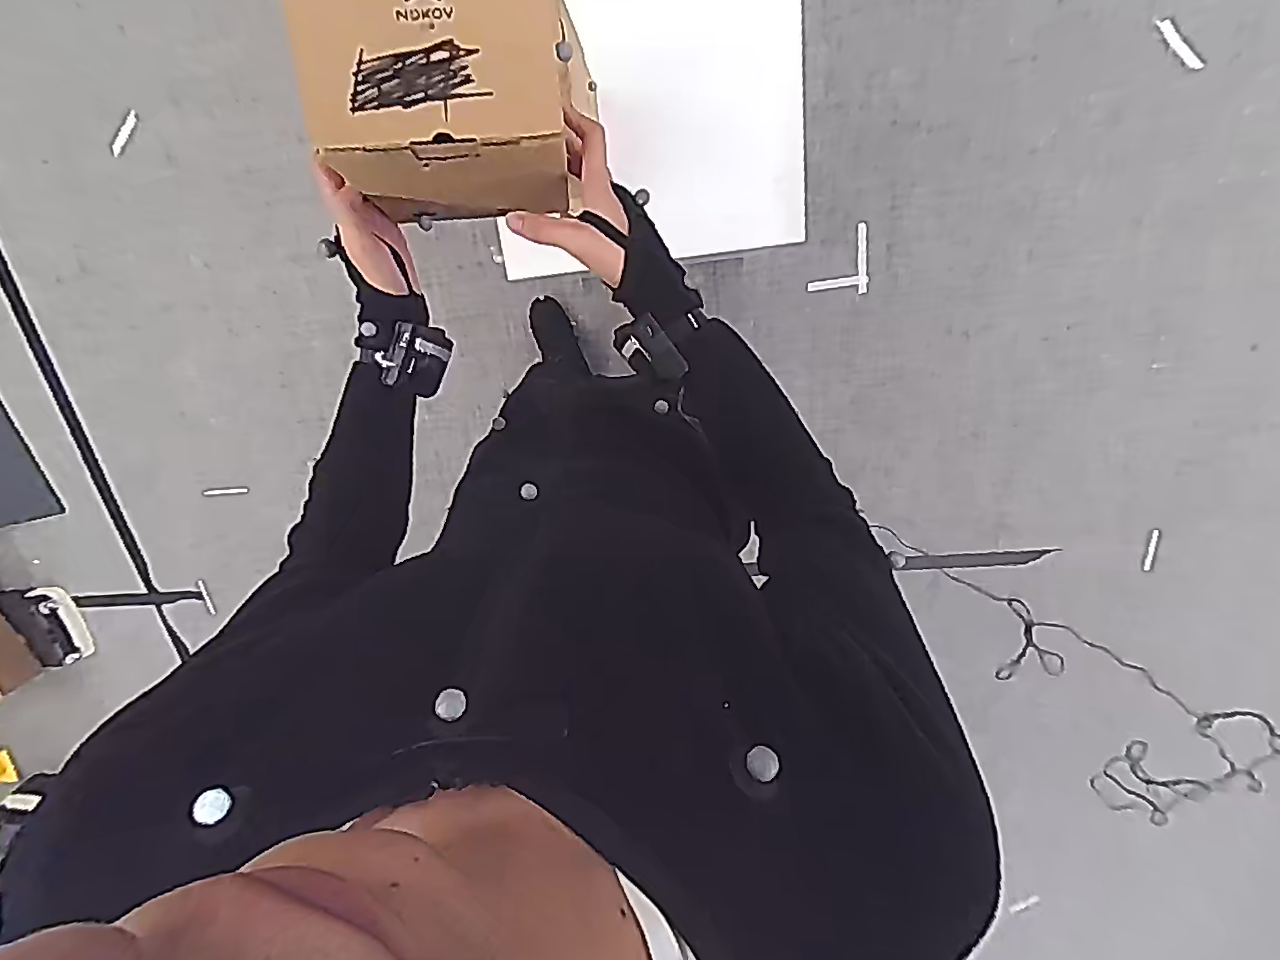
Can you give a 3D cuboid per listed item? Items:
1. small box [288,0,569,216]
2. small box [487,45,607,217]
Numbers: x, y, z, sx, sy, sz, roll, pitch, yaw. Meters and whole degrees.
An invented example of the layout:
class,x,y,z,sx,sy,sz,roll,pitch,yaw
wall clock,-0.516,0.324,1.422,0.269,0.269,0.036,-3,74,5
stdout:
class,x,y,z,sx,sy,sz,roll,pitch,yaw
small box,-0.147,-0.320,0.423,0.168,0.176,0.179,-6,101,-5
small box,-0.144,-0.490,0.790,0.168,0.176,0.179,-5,110,5
